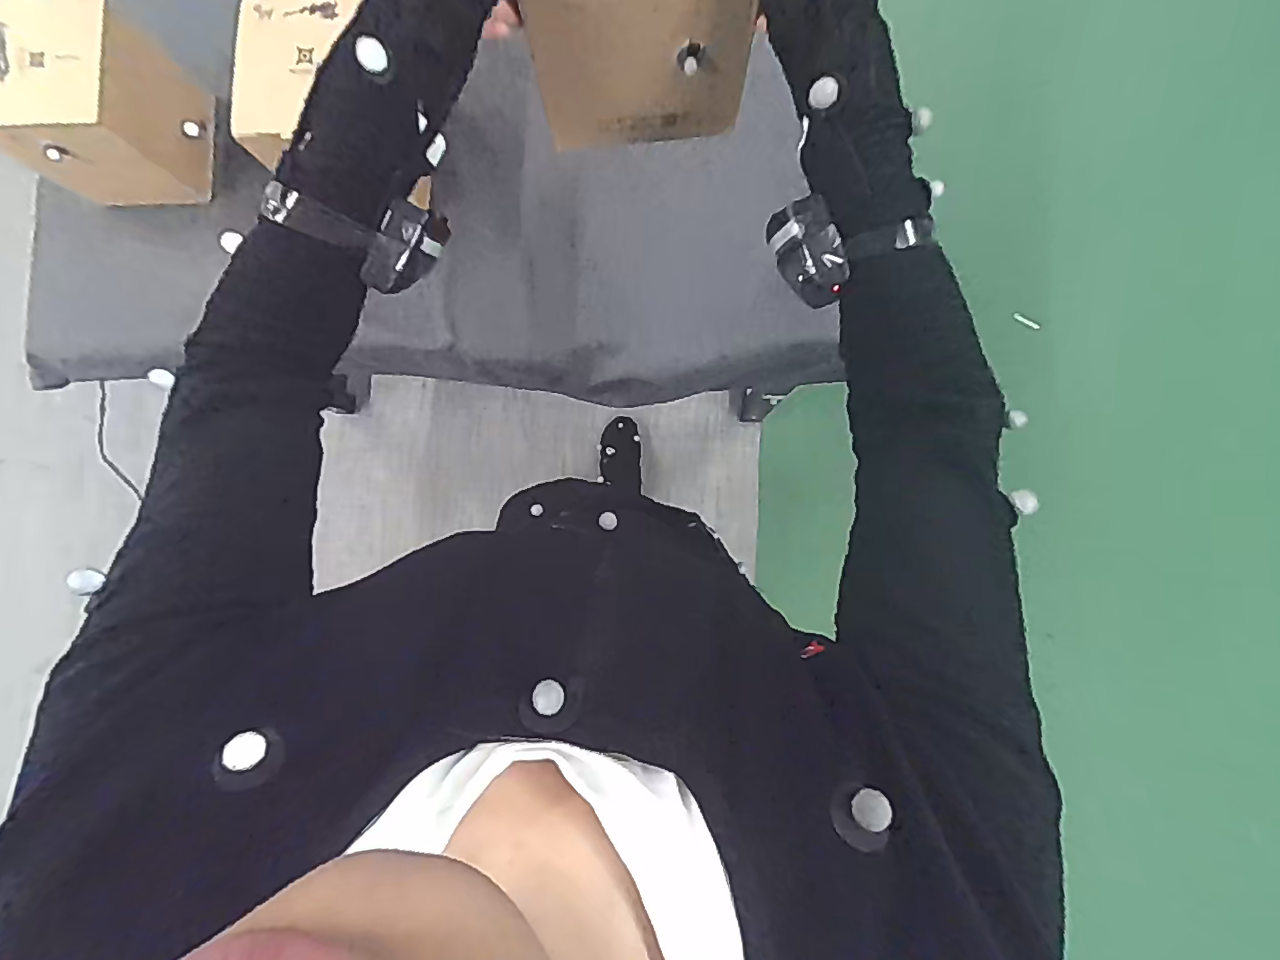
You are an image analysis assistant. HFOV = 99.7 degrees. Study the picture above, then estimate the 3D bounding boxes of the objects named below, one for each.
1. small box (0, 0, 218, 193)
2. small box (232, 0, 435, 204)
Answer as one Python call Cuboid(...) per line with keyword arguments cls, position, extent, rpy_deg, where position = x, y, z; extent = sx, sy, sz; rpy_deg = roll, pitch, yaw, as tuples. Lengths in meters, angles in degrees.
Cuboid(cls="small box", position=(-0.713, -0.503, 0.714), extent=(0.179, 0.176, 0.168), rpy_deg=(0, 87, 1))
Cuboid(cls="small box", position=(-0.382, -0.484, 0.702), extent=(0.168, 0.176, 0.179), rpy_deg=(3, 88, 2))
